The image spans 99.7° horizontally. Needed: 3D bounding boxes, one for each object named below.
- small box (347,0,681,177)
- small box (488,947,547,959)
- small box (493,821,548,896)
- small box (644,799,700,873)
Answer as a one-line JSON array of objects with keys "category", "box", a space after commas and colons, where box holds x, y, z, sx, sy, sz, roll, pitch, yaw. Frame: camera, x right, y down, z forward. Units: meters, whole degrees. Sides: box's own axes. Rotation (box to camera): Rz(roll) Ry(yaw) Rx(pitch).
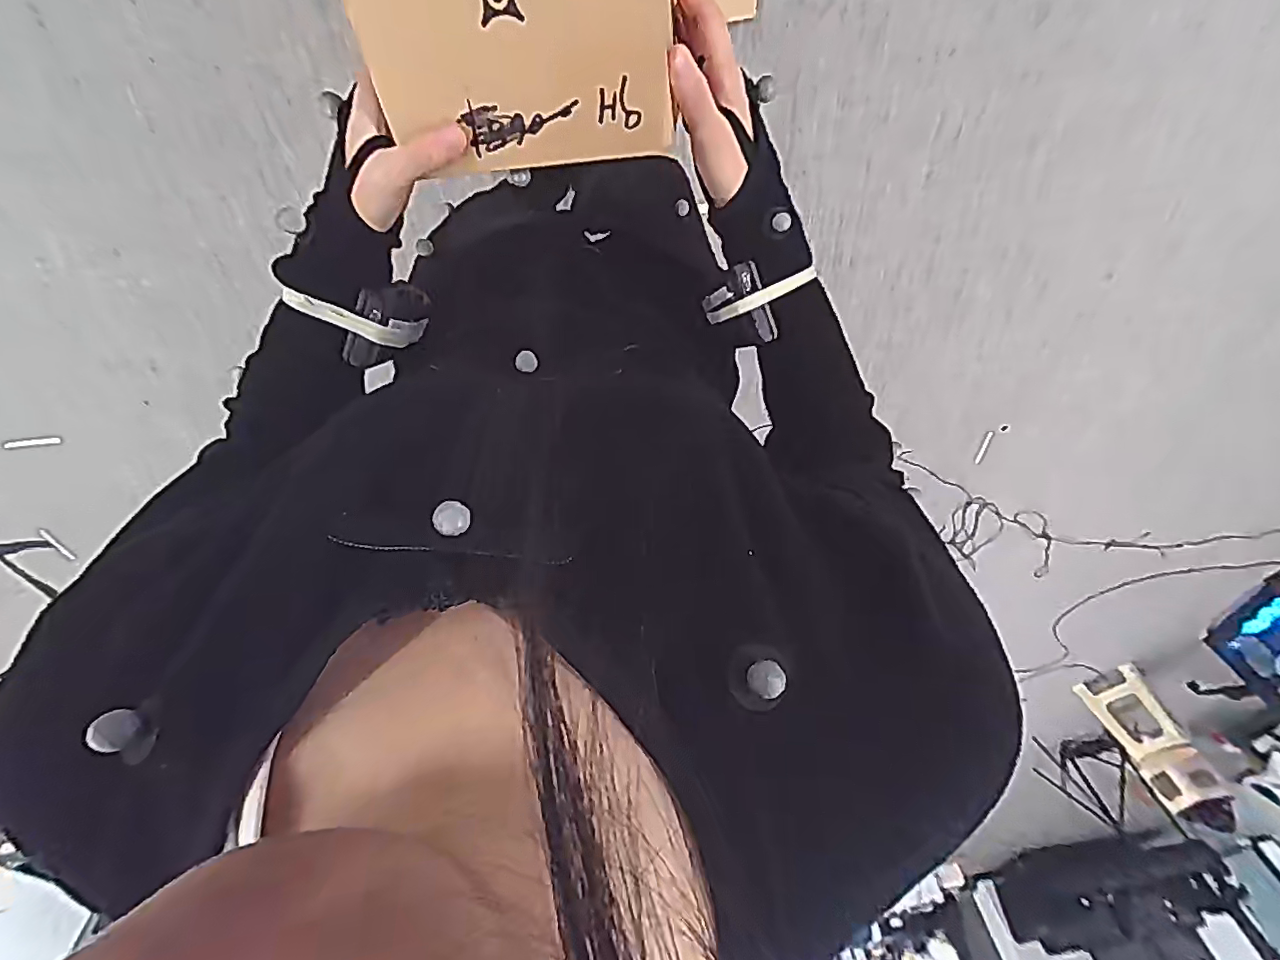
[{"category": "small box", "box": [-0.063, -0.305, 0.322, 0.168, 0.176, 0.179, -1, 133, 8]}, {"category": "small box", "box": [-0.360, 1.491, 1.584, 0.168, 0.176, 0.179, 0, 133, -7]}, {"category": "small box", "box": [-0.398, 1.279, 1.830, 0.168, 0.176, 0.179, -3, 132, -7]}, {"category": "small box", "box": [0.104, 1.206, 1.834, 0.168, 0.176, 0.179, -5, 131, -3]}]
